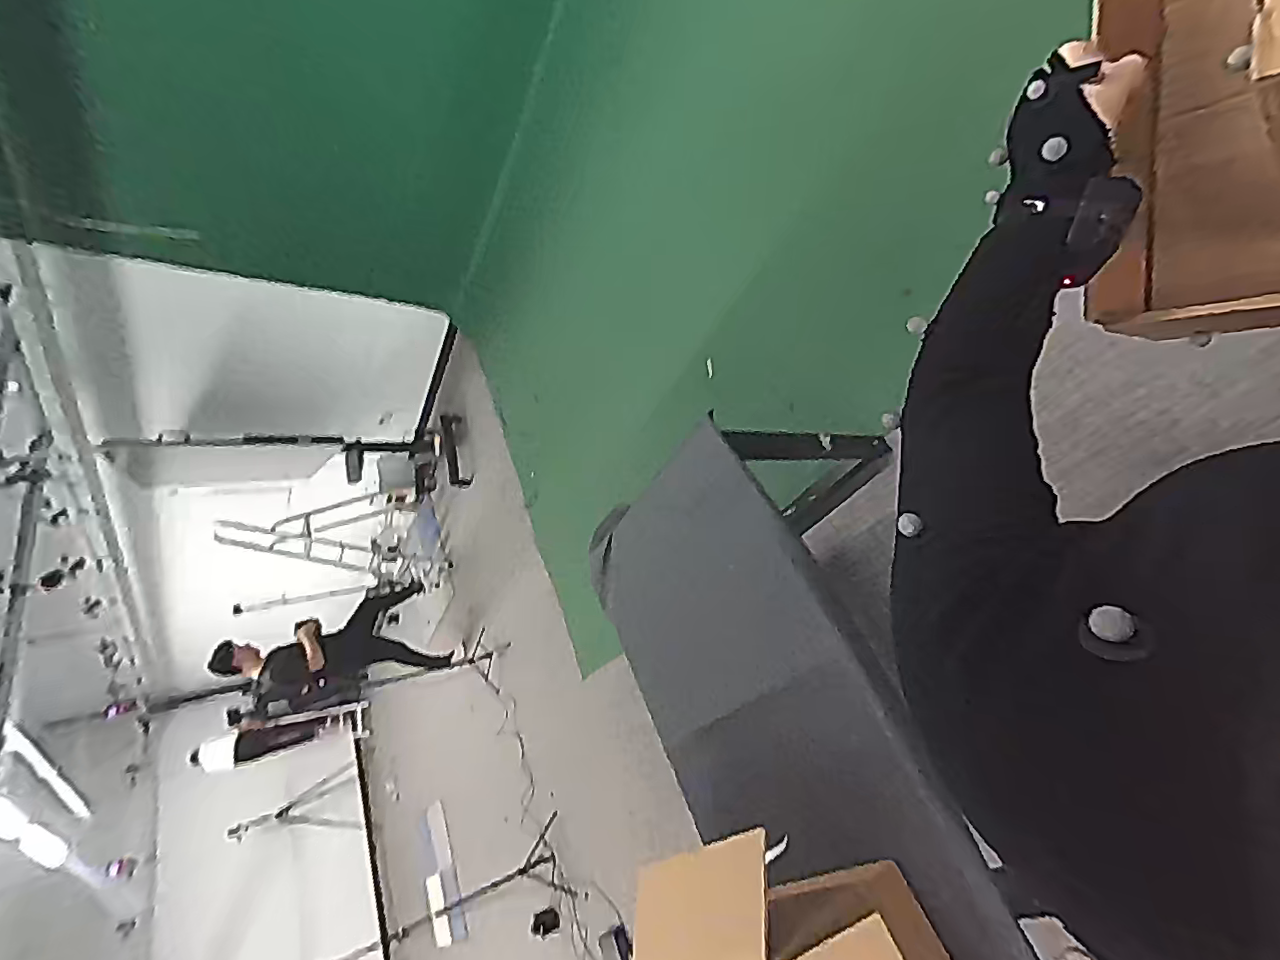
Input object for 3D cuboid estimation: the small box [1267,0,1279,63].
[{"bbox_3d":[0.396,-0.269,0.218,0.179,0.176,0.168,3,99,51],"label":"small box"}]
